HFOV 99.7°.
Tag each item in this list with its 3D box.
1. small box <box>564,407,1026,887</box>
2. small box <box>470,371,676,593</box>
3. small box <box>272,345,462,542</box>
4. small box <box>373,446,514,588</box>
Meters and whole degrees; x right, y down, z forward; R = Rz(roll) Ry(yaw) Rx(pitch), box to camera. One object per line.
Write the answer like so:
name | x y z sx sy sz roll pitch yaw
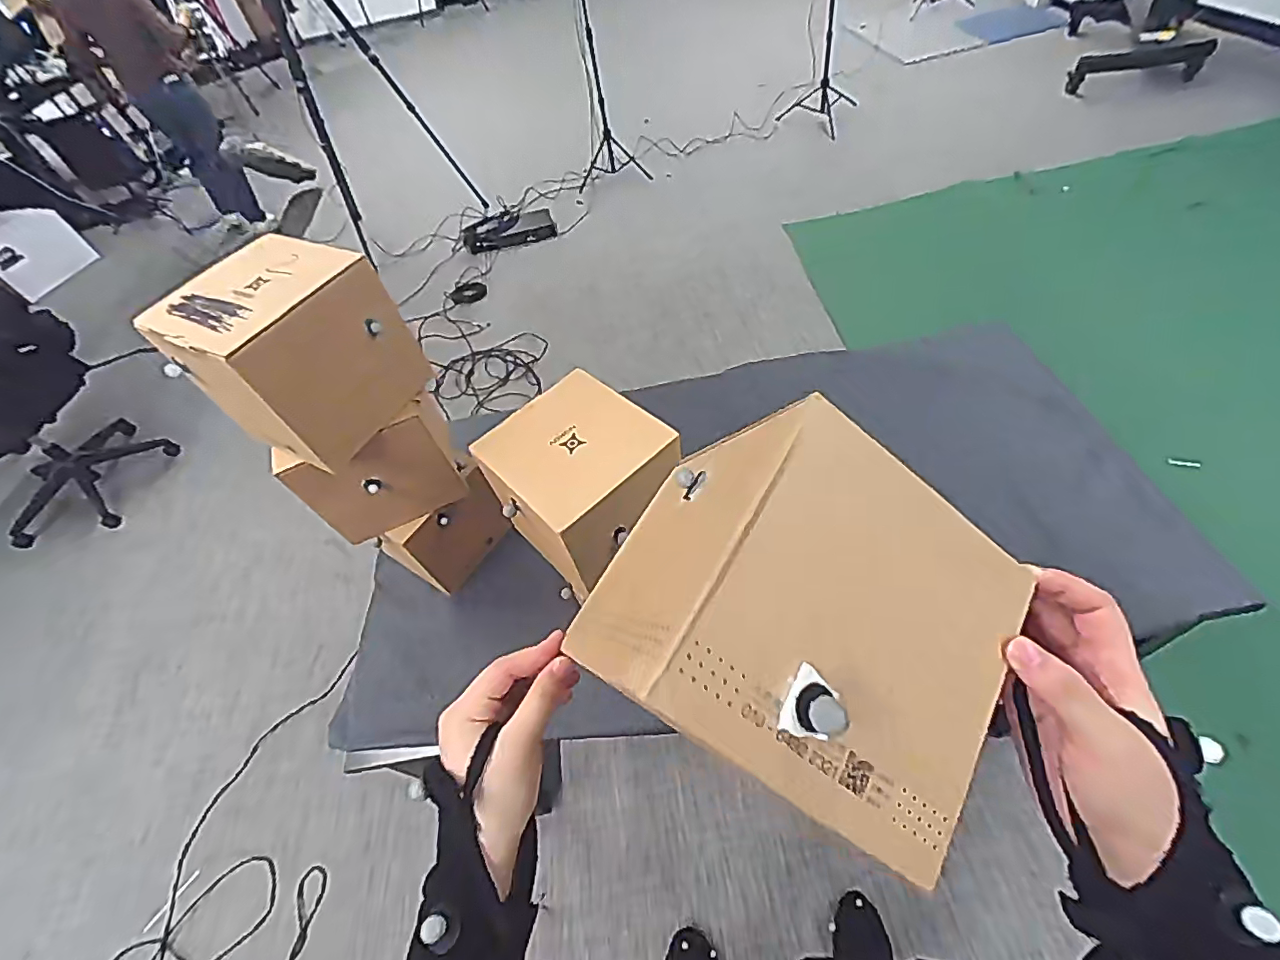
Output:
small box | 0.074 0.088 0.328 0.168 0.179 0.176 36 72 -12
small box | -0.062 0.010 0.644 0.168 0.176 0.179 -40 55 -19
small box | -0.364 -0.047 0.745 0.179 0.176 0.168 -26 53 -8
small box | -0.339 0.048 0.877 0.179 0.176 0.168 24 61 26
